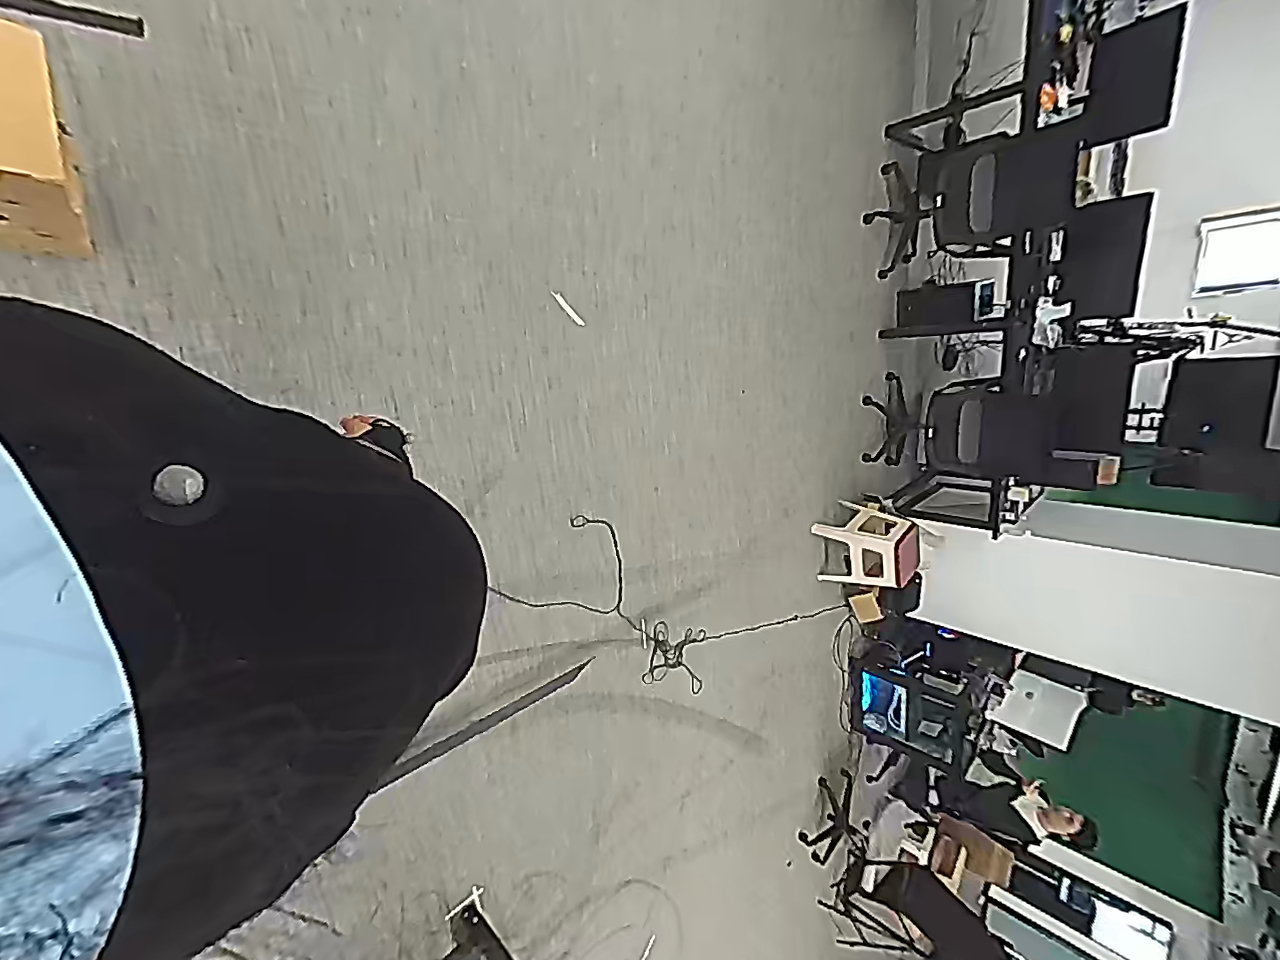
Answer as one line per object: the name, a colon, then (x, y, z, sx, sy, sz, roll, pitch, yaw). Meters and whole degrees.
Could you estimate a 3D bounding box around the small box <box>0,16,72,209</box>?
small box: (-0.841, -0.465, 0.674, 0.168, 0.176, 0.179, -9, 103, -43)

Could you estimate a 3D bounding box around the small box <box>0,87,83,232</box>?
small box: (-0.950, -0.483, 0.794, 0.168, 0.176, 0.179, -9, 102, -43)
